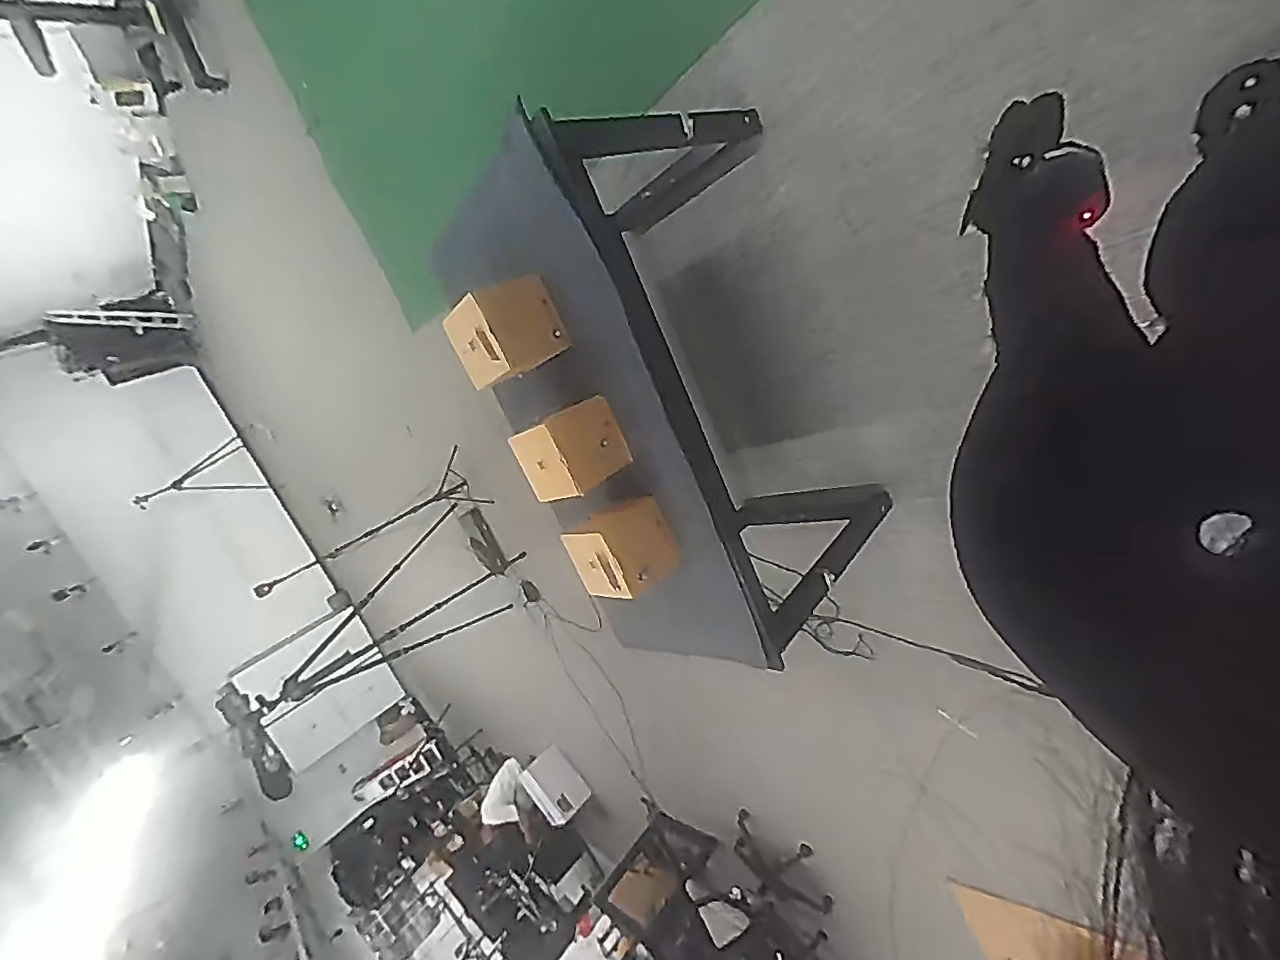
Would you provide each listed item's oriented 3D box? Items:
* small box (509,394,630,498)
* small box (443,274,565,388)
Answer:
[{"bbox_3d":[-0.155,-0.074,1.209,0.179,0.176,0.168,-12,107,50],"label":"small box"},{"bbox_3d":[-0.284,-0.321,1.165,0.179,0.176,0.168,-12,107,51],"label":"small box"}]
